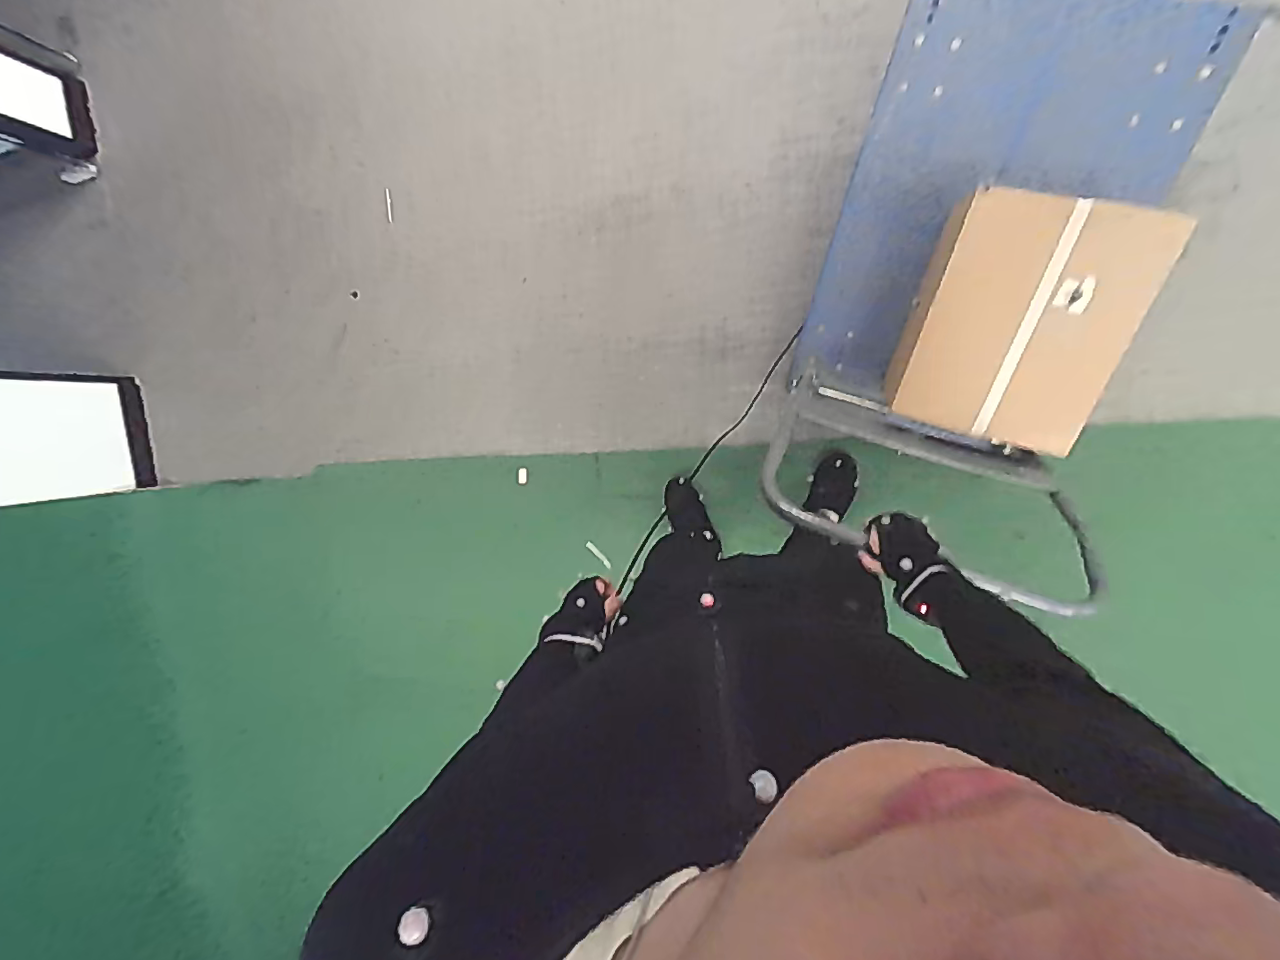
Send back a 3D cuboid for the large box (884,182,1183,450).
[{"bbox_3d":[0.709,-0.320,1.070,0.320,0.320,0.408,19,115,14],"label":"large box"}]
